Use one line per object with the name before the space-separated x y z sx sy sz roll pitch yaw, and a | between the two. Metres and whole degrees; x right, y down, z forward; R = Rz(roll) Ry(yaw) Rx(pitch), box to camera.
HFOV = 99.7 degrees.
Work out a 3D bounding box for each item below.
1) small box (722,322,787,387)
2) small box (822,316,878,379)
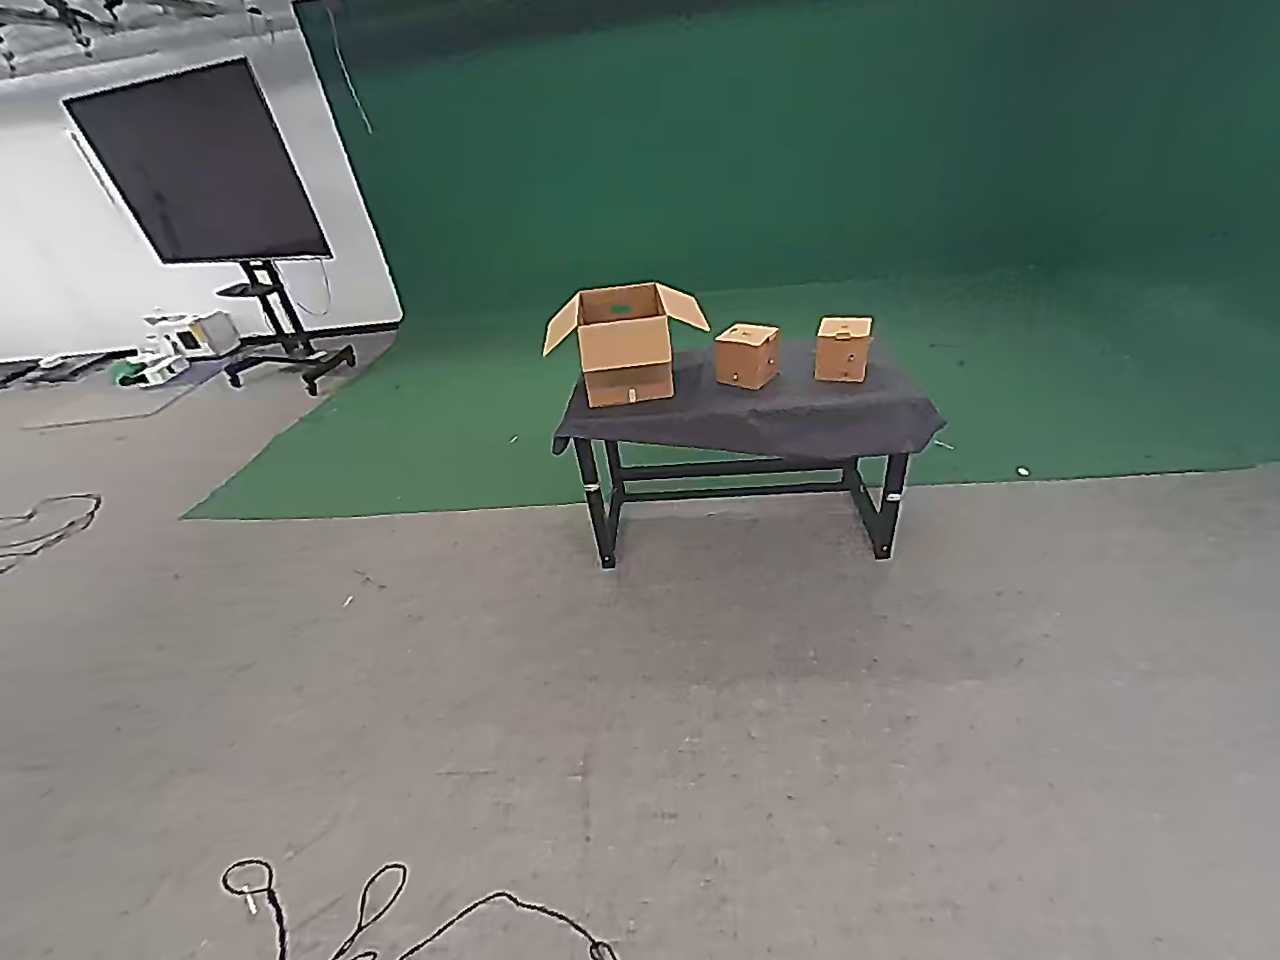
small box | 0.418 -0.457 1.972 0.179 0.176 0.168 20 45 34
small box | 0.745 -0.471 1.918 0.168 0.176 0.179 8 37 21
